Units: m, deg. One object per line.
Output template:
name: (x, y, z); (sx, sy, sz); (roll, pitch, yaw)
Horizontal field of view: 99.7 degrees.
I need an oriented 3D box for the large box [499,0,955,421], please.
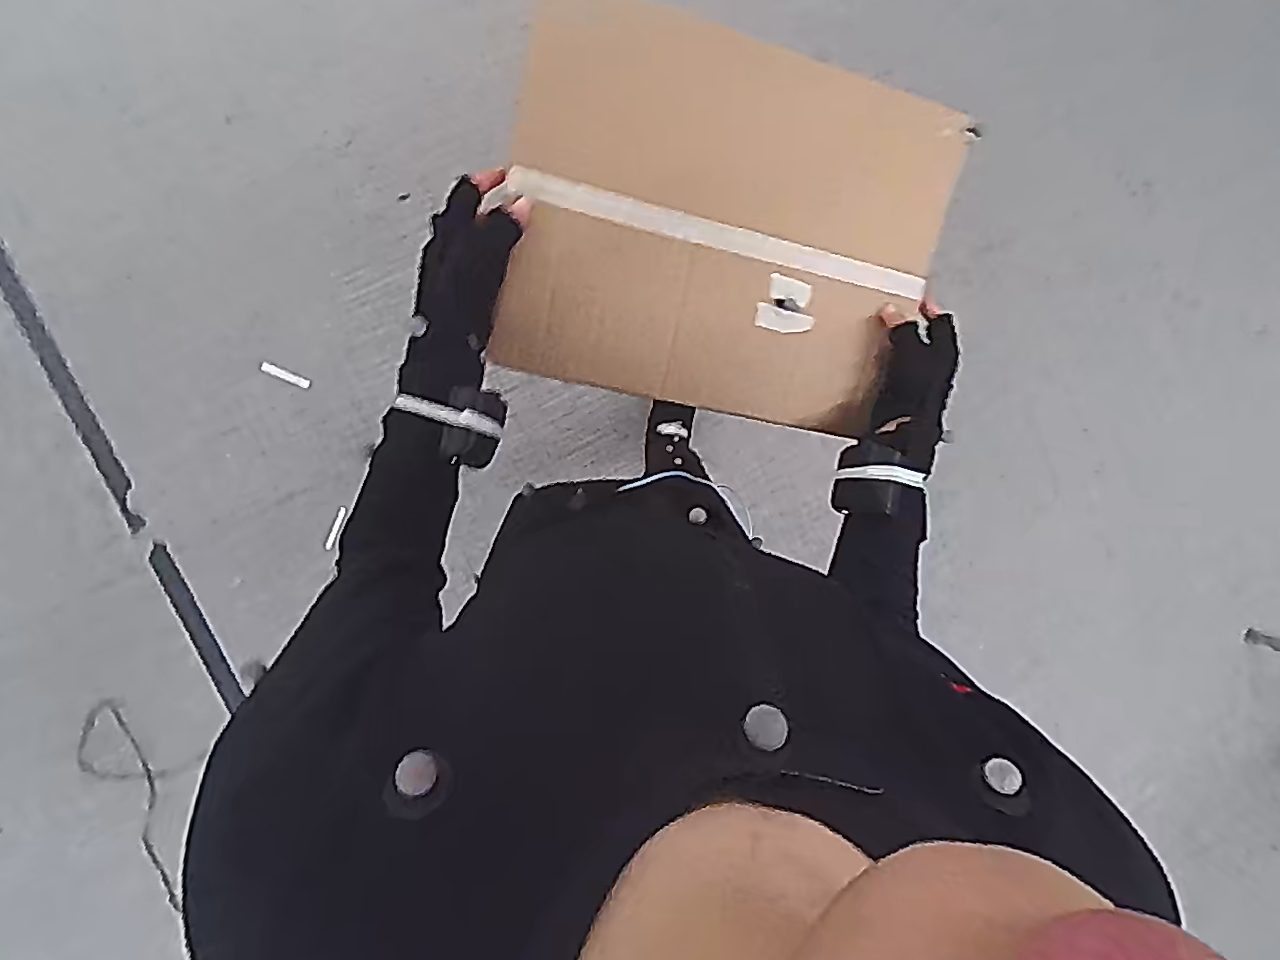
large box: (0.060, -0.279, 0.657); (0.408, 0.320, 0.320); (10, 105, -13)
